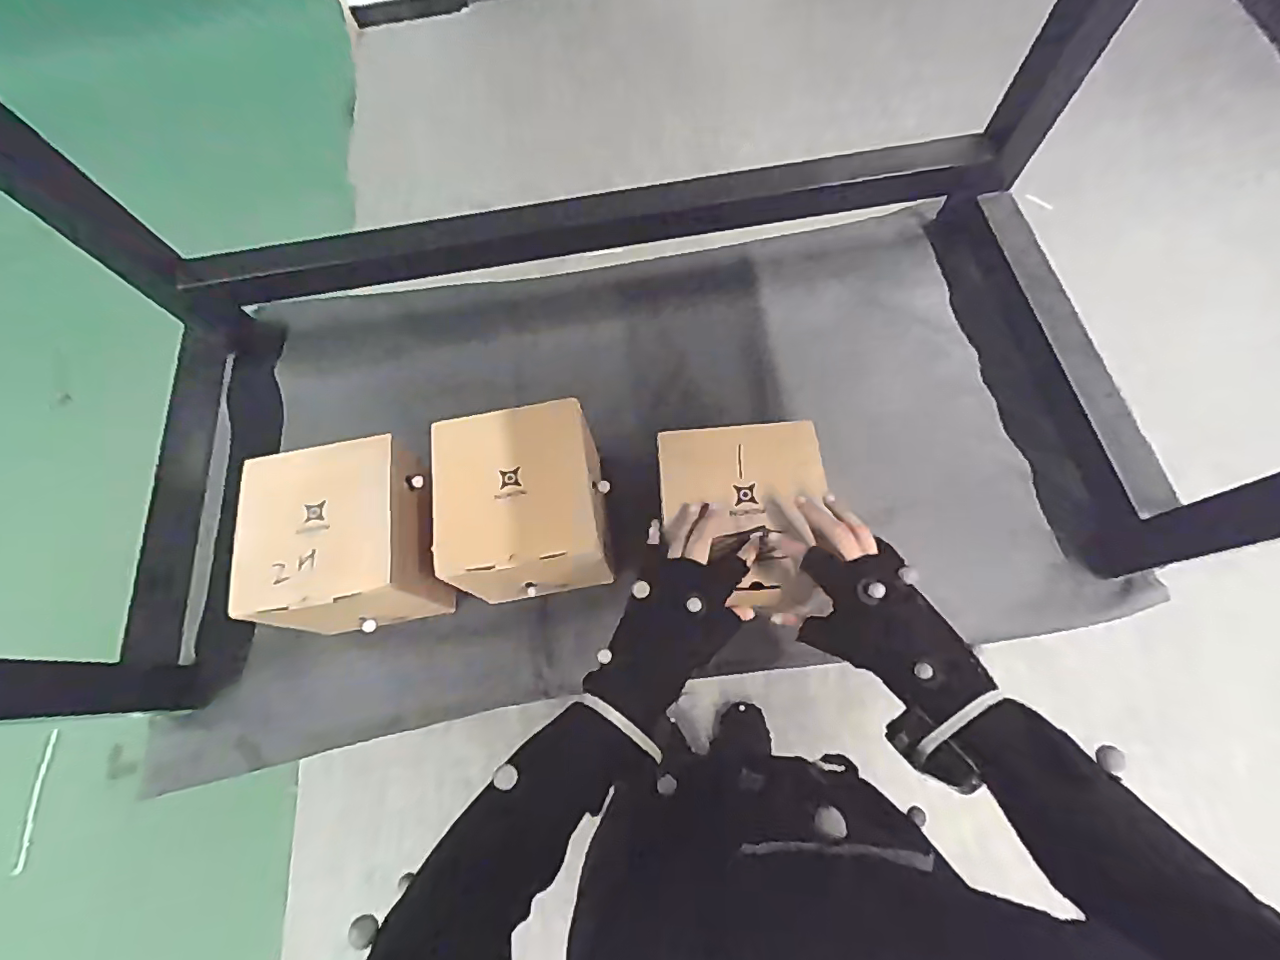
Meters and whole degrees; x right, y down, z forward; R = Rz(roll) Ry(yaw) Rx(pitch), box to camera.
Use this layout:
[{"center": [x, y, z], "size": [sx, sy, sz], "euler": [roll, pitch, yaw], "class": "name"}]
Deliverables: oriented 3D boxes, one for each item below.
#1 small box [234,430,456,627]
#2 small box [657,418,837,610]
[{"center": [-0.330, 0.065, 0.640], "size": [0.168, 0.176, 0.179], "euler": [-10, 69, 0], "class": "small box"}, {"center": [0.108, 0.050, 0.614], "size": [0.168, 0.176, 0.179], "euler": [-4, 67, 3], "class": "small box"}]
